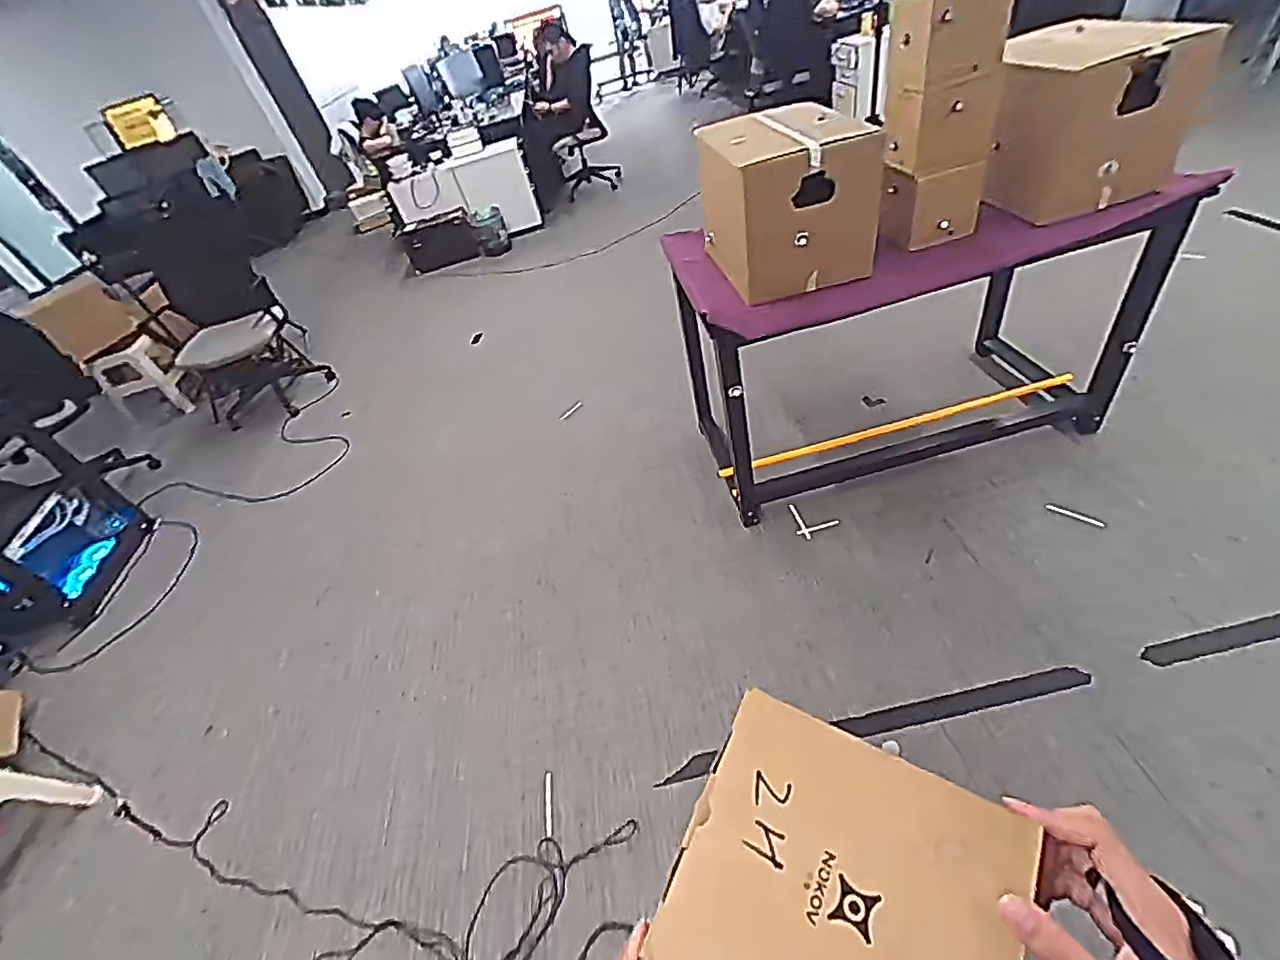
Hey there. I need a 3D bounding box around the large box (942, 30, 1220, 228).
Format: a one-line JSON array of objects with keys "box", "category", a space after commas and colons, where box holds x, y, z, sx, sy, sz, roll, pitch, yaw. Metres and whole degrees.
[{"box": [1.017, -0.864, 1.324, 0.320, 0.320, 0.408, -16, 41, 1], "category": "large box"}]
